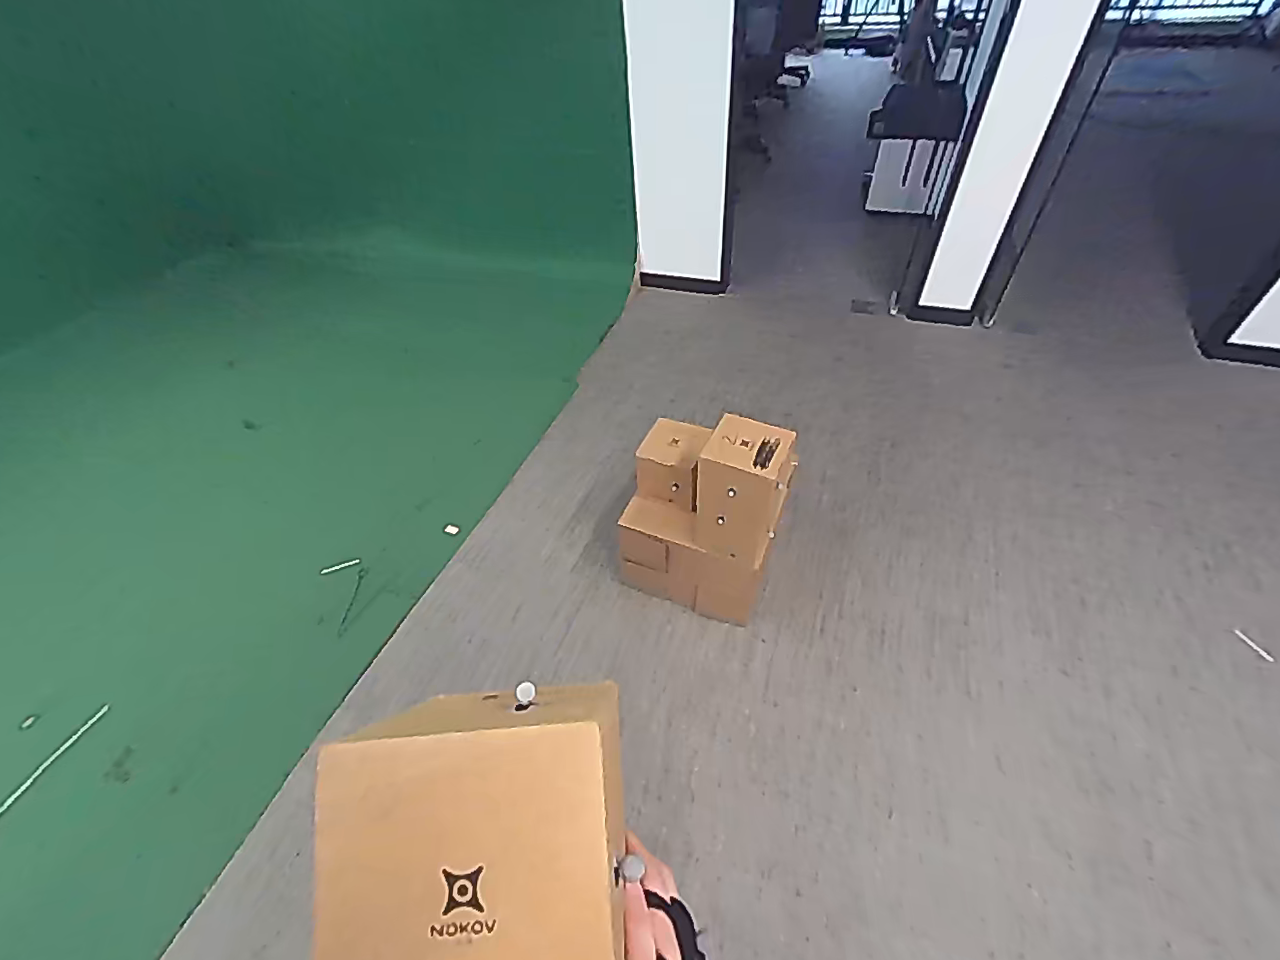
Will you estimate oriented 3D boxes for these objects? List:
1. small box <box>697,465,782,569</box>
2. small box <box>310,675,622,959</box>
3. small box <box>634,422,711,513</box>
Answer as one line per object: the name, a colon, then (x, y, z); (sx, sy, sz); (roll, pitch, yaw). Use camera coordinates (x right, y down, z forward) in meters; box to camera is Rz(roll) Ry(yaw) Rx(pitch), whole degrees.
small box: (0.251, 0.095, 1.389); (0.168, 0.176, 0.179); (18, 48, 20)
small box: (-0.101, 0.240, 0.383); (0.168, 0.176, 0.179); (-5, 79, 0)
small box: (0.097, -0.032, 1.530); (0.168, 0.176, 0.179); (16, 47, 19)
